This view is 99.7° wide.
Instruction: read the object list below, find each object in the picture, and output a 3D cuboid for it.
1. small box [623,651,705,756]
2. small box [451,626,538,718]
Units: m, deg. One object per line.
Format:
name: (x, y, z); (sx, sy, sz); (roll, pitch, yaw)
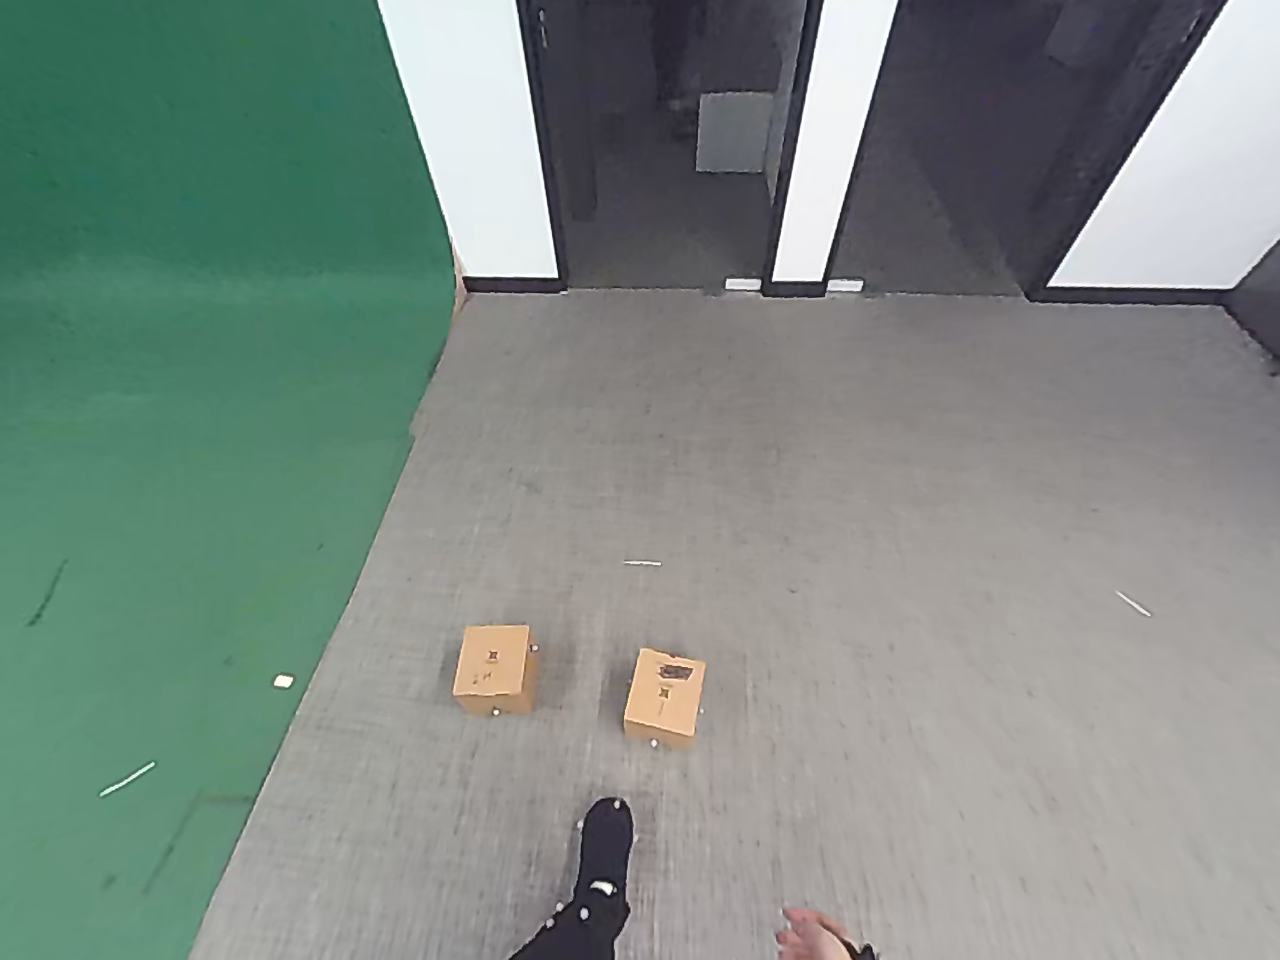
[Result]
small box: (0.059, 0.549, 1.327); (0.168, 0.176, 0.179); (11, 53, 10)
small box: (-0.362, 0.491, 1.381); (0.168, 0.176, 0.179); (0, 51, 1)
